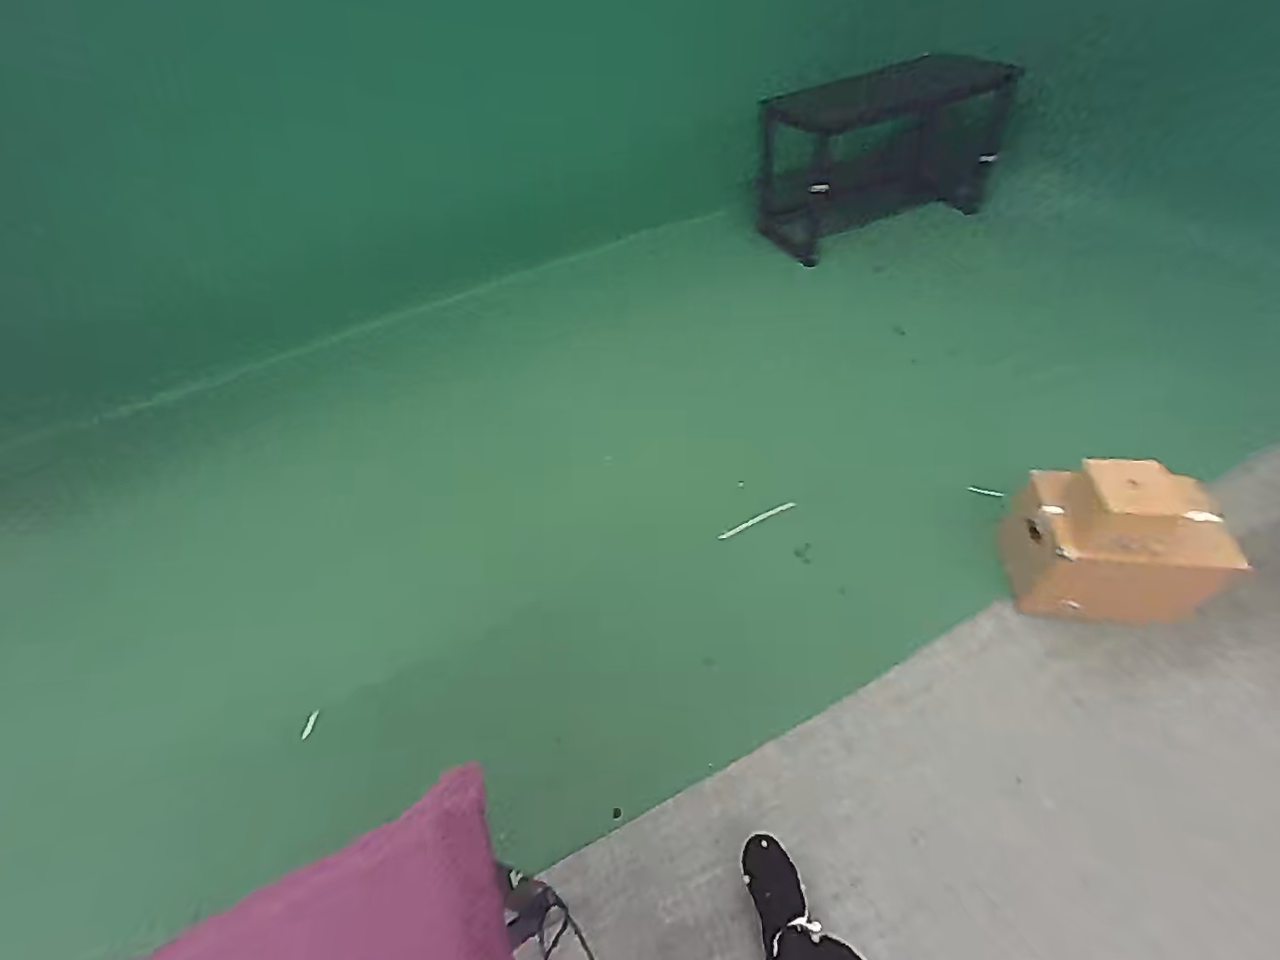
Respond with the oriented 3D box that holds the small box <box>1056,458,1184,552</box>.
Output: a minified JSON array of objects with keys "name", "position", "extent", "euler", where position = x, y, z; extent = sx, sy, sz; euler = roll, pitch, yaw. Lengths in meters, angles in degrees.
[{"name":"small box","position":[1.219,0.064,1.394],"extent":[0.168,0.176,0.179],"euler":[2,50,11]}]
